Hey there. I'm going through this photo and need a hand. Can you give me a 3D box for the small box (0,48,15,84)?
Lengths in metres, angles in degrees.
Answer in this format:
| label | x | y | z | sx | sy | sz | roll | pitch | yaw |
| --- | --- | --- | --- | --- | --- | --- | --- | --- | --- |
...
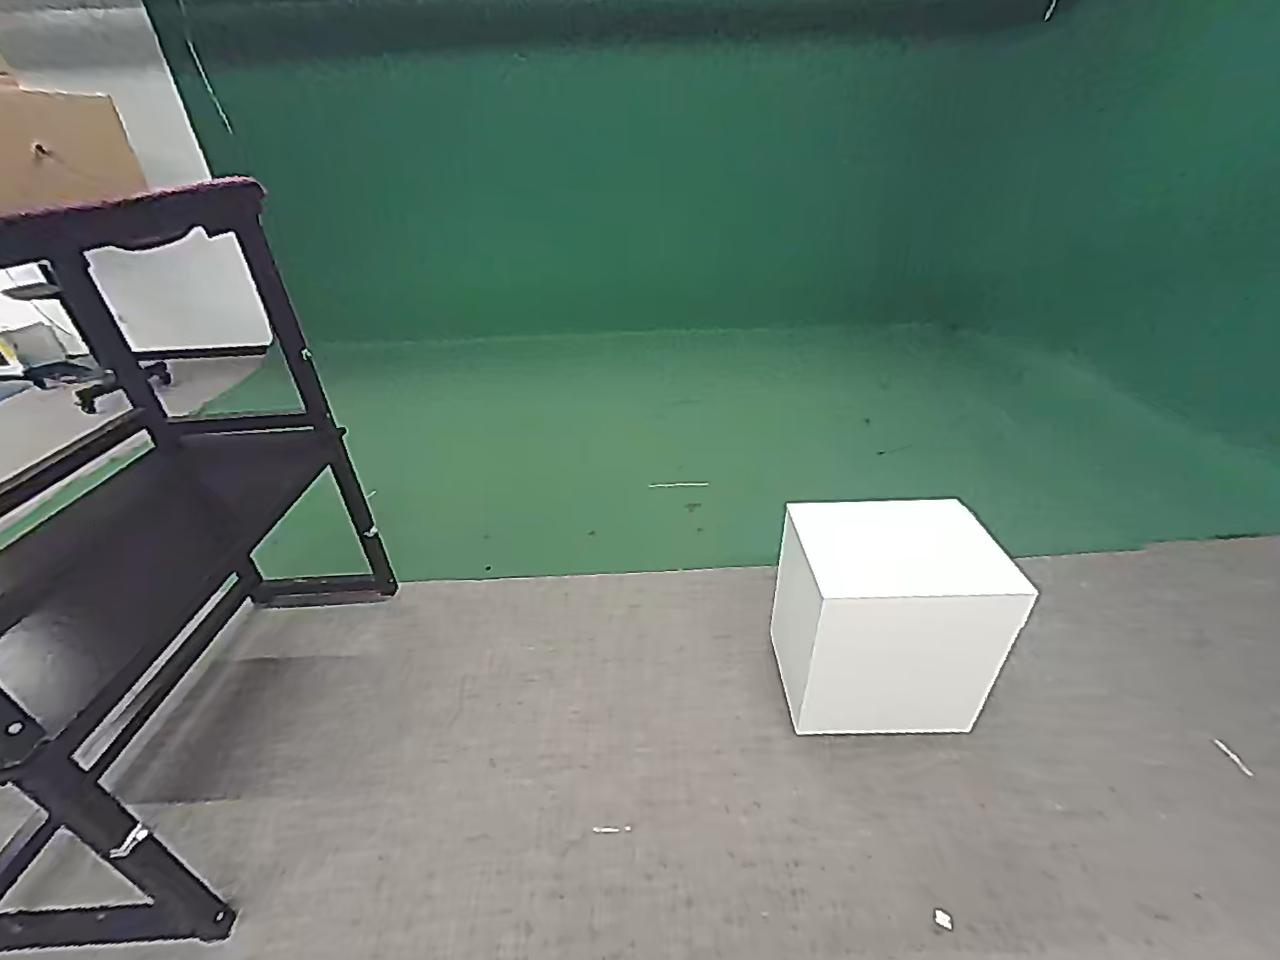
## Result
| label | x | y | z | sx | sy | sz | roll | pitch | yaw |
| --- | --- | --- | --- | --- | --- | --- | --- | --- | --- |
| small box | -1.251 | -0.767 | 0.903 | 0.179 | 0.176 | 0.168 | -2 | 34 | 1 |
